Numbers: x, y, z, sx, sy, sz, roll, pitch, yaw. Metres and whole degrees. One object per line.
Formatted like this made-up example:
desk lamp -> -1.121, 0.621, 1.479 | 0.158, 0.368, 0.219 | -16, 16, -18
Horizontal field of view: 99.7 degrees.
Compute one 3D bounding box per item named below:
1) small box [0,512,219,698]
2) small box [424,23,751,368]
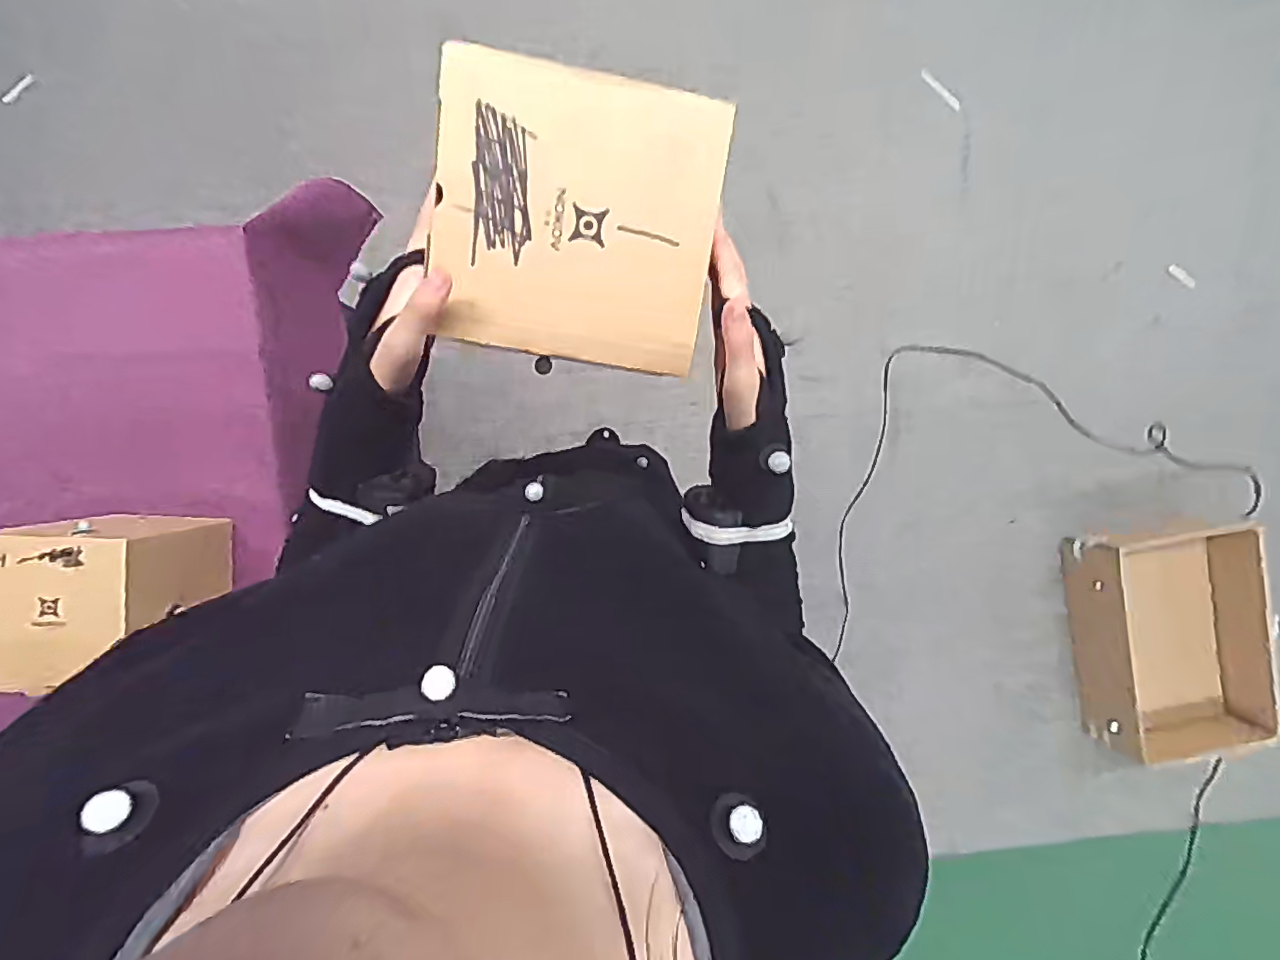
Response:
small box -> -0.648, 0.139, 0.651 | 0.168, 0.176, 0.179 | 3, 94, -5
small box -> -0.041, -0.179, 0.402 | 0.179, 0.176, 0.168 | 9, 101, -8
